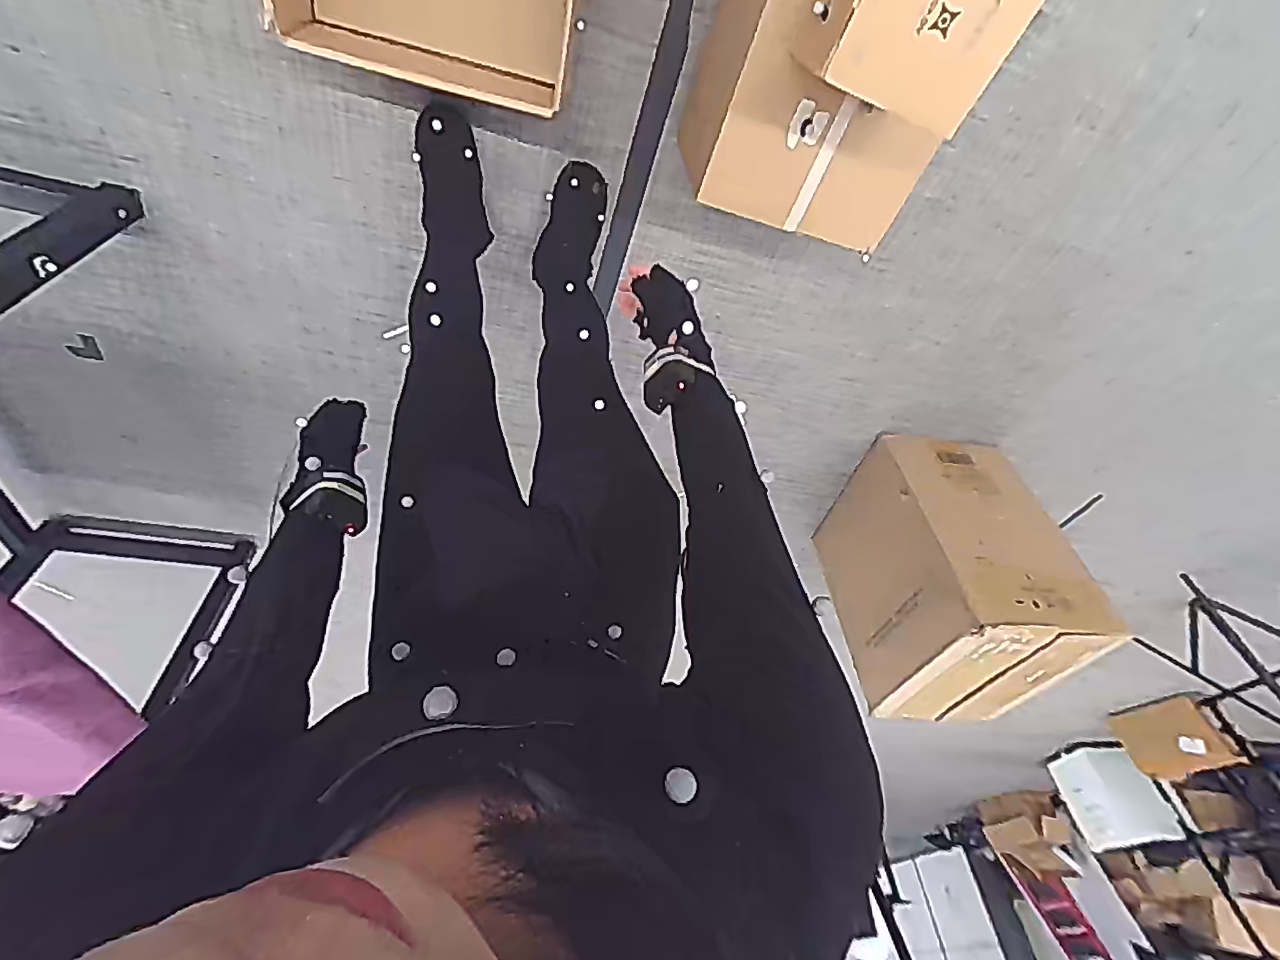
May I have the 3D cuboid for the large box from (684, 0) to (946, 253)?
[{"bbox_3d":[0.284,-0.633,0.808,0.320,0.320,0.408,10,136,-13],"label":"large box"}]

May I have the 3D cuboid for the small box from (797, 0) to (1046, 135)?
[{"bbox_3d":[0.294,-0.513,0.581,0.179,0.176,0.168,12,137,-16],"label":"small box"}]
